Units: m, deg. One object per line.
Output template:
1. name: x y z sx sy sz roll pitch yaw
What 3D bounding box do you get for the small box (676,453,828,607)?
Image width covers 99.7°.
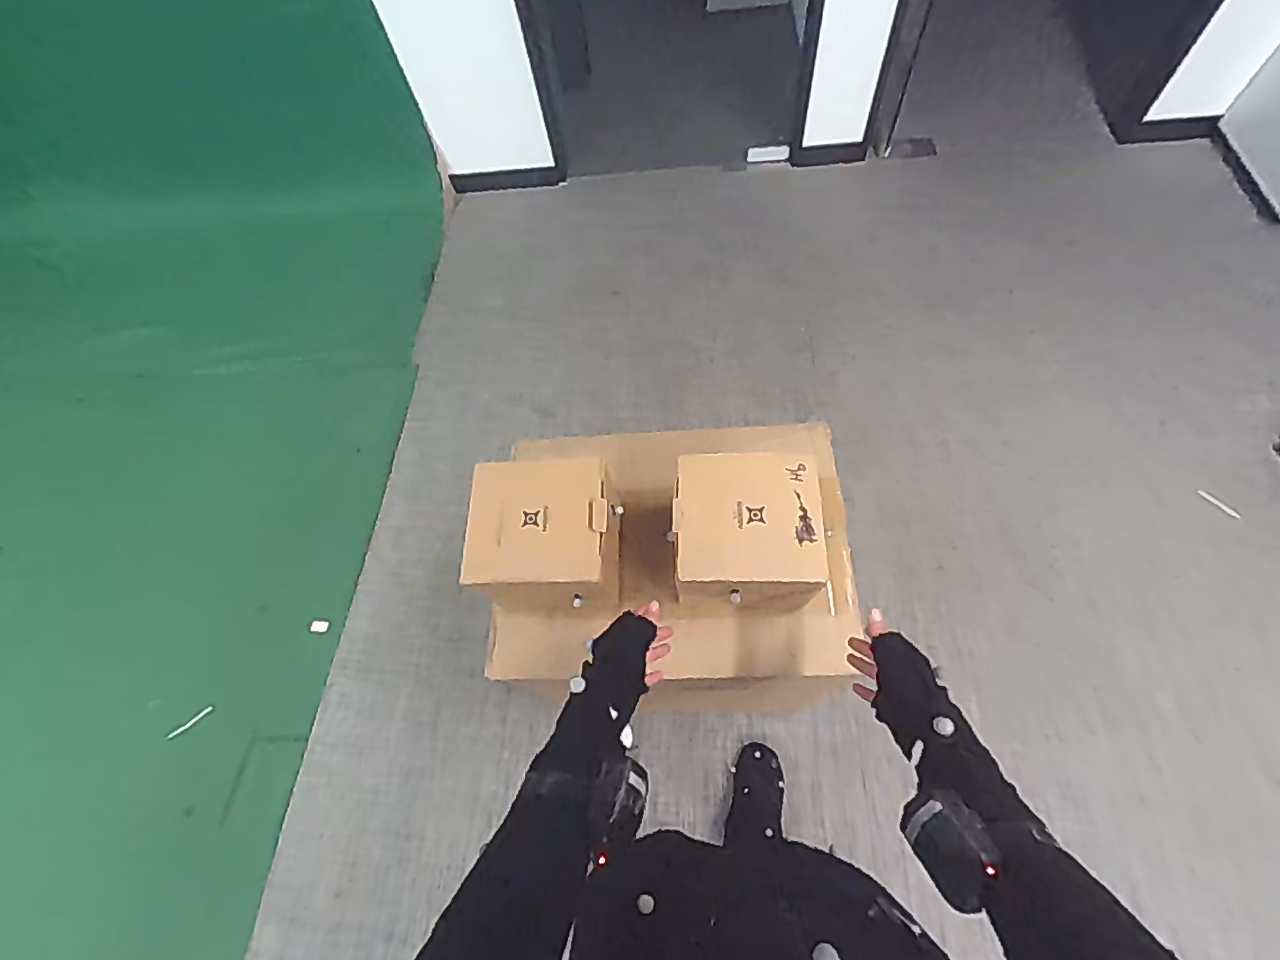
1. small box: 0.142 0.074 0.730 0.179 0.176 0.168 -1 67 6

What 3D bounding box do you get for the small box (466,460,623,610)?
1. small box: -0.119 0.083 0.757 0.179 0.176 0.168 -3 65 6
